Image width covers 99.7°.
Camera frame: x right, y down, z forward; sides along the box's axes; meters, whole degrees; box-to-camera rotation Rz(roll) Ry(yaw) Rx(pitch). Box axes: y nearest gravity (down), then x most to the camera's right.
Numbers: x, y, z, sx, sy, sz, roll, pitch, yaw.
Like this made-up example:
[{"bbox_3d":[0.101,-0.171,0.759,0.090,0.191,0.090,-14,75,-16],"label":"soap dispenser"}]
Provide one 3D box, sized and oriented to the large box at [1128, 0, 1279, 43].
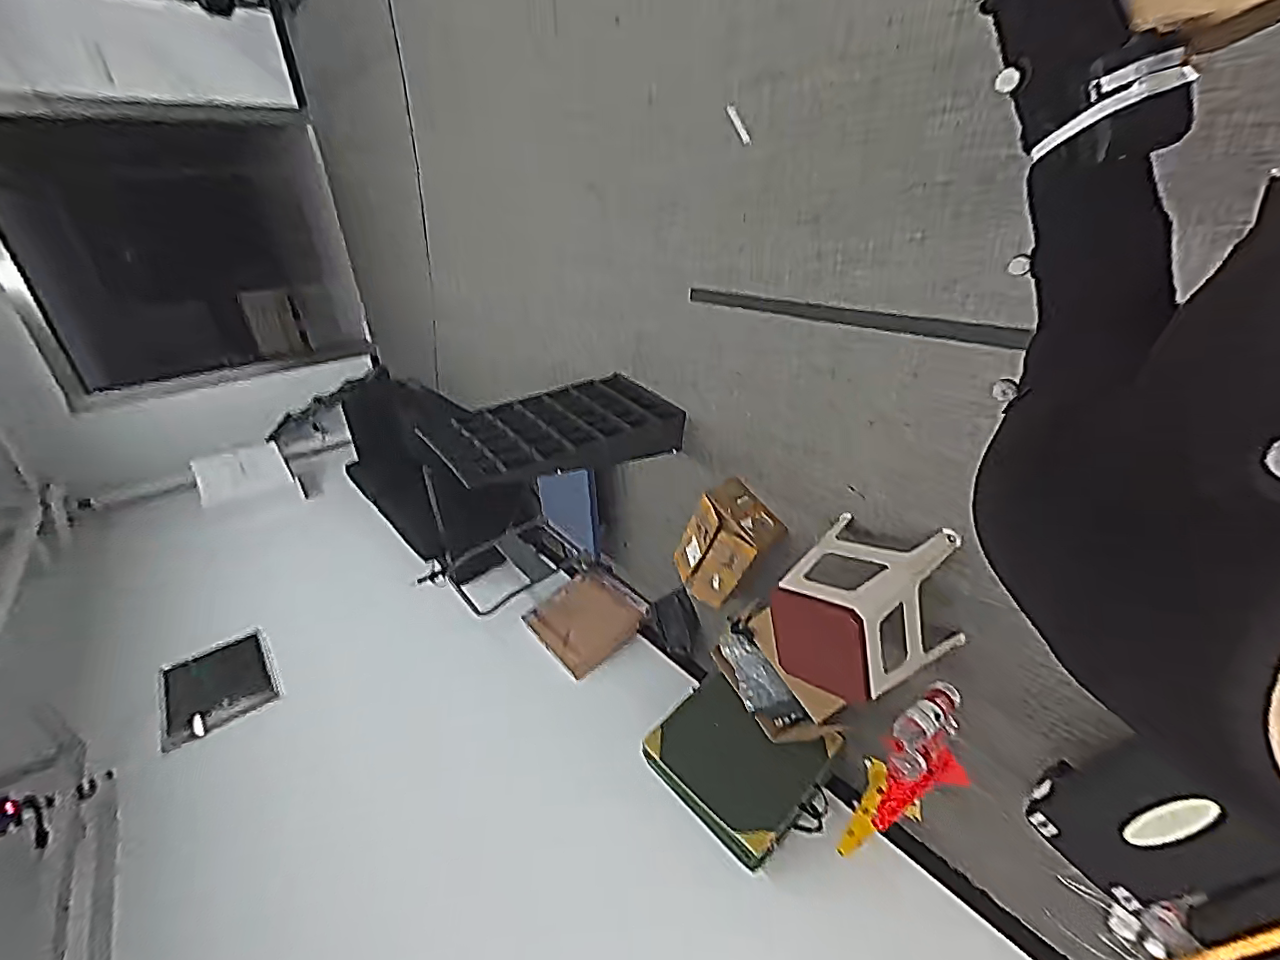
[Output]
[{"bbox_3d":[0.509,-0.505,0.257,0.408,0.320,0.320,-1,115,55],"label":"large box"}]
